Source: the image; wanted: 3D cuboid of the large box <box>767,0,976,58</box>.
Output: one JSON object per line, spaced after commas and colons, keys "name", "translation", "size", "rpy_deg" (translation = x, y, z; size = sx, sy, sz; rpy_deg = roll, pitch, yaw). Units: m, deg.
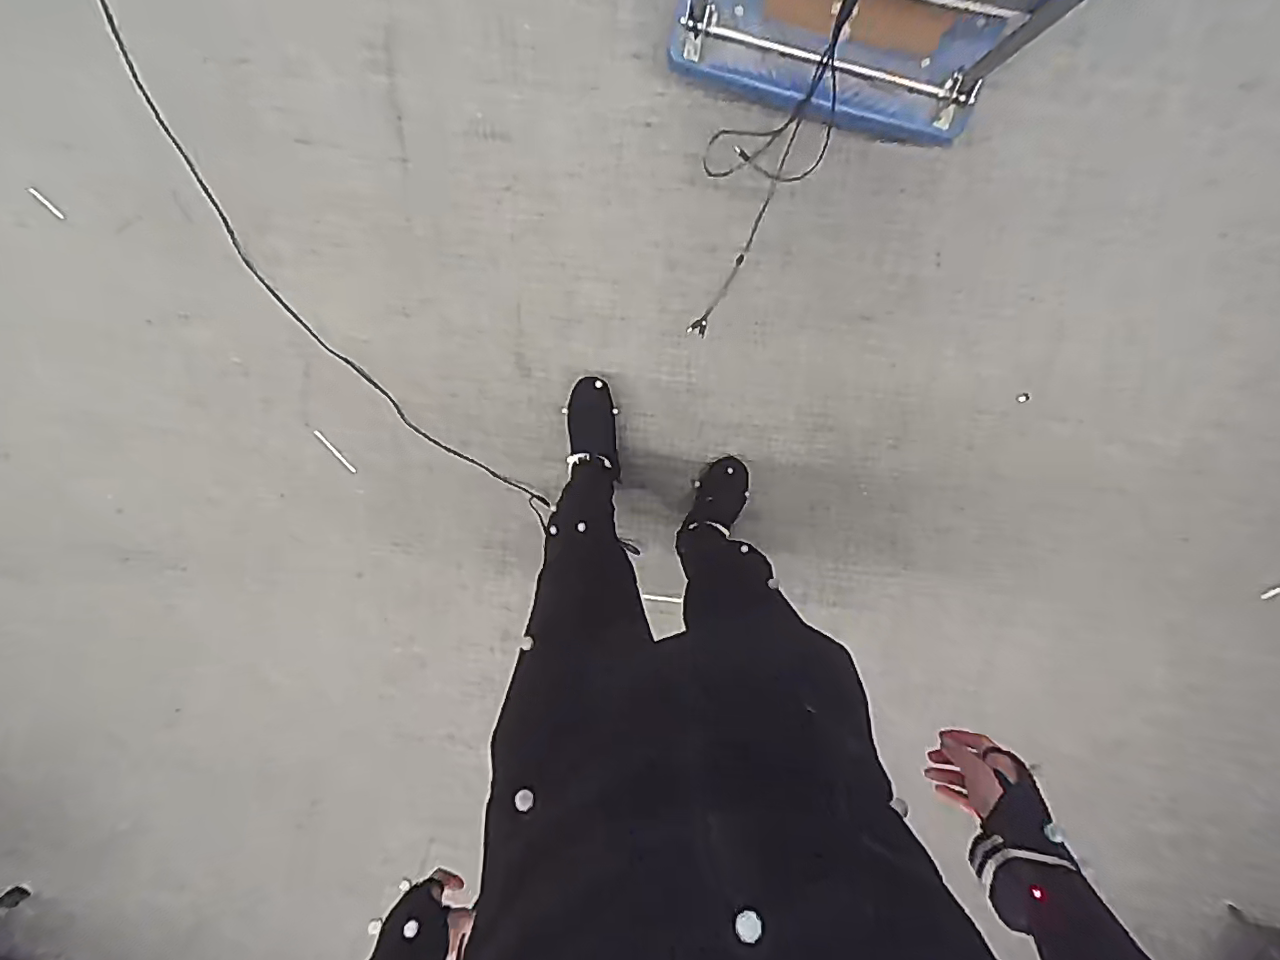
{"name": "large box", "translation": [0.402, -0.939, 0.783], "size": [0.320, 0.320, 0.408], "rpy_deg": [15, 104, 0]}
